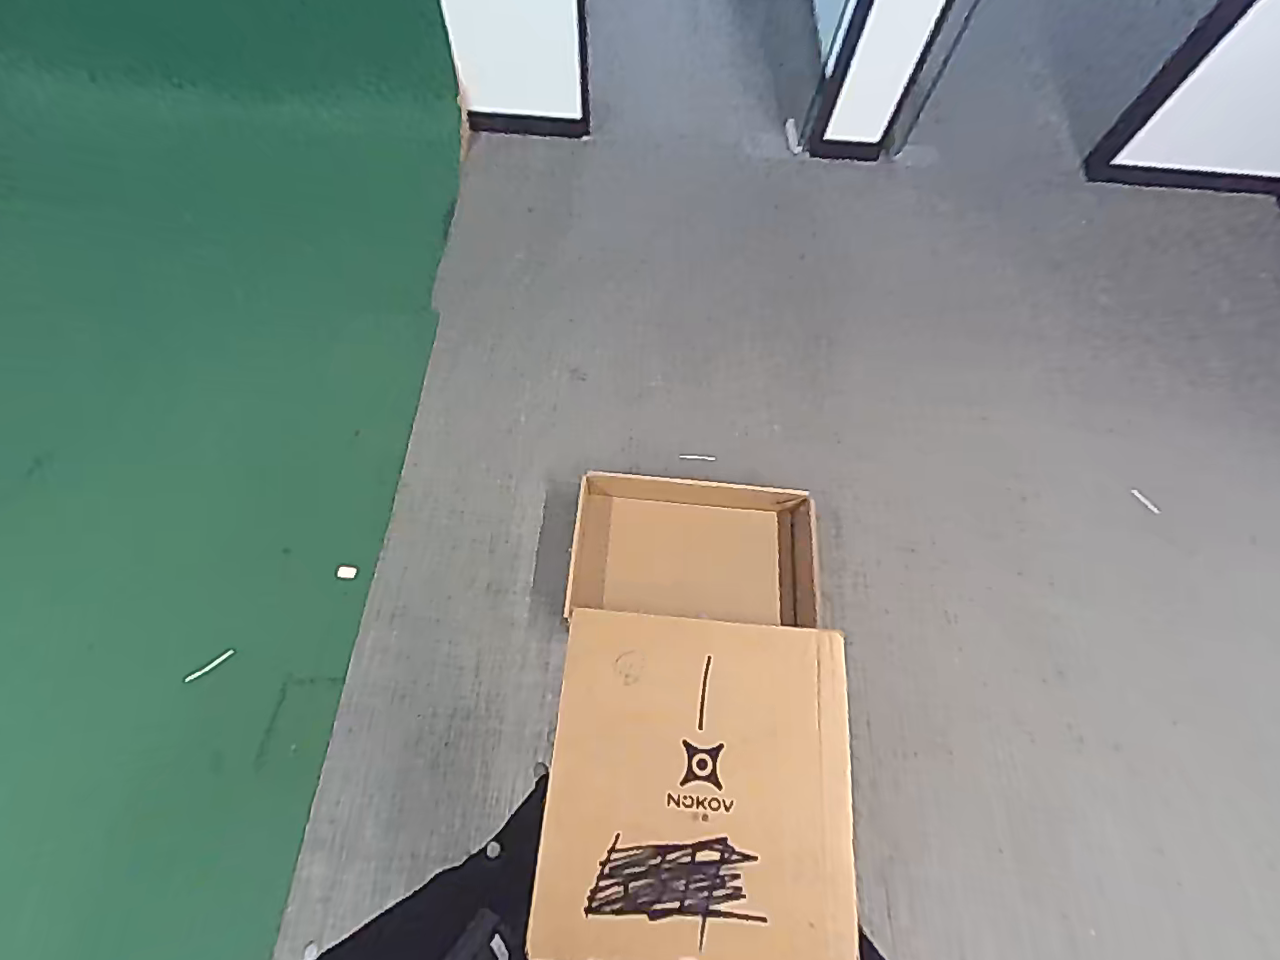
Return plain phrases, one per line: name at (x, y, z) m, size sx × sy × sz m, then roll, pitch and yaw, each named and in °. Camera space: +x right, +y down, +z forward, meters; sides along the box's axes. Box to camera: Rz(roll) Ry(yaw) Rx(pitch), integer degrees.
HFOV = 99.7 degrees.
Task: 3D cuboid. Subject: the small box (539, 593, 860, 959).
small box at (0.038, 0.185, 0.373) m, size 0.168 × 0.176 × 0.179 m, roll 5°, pitch 69°, yaw 2°
